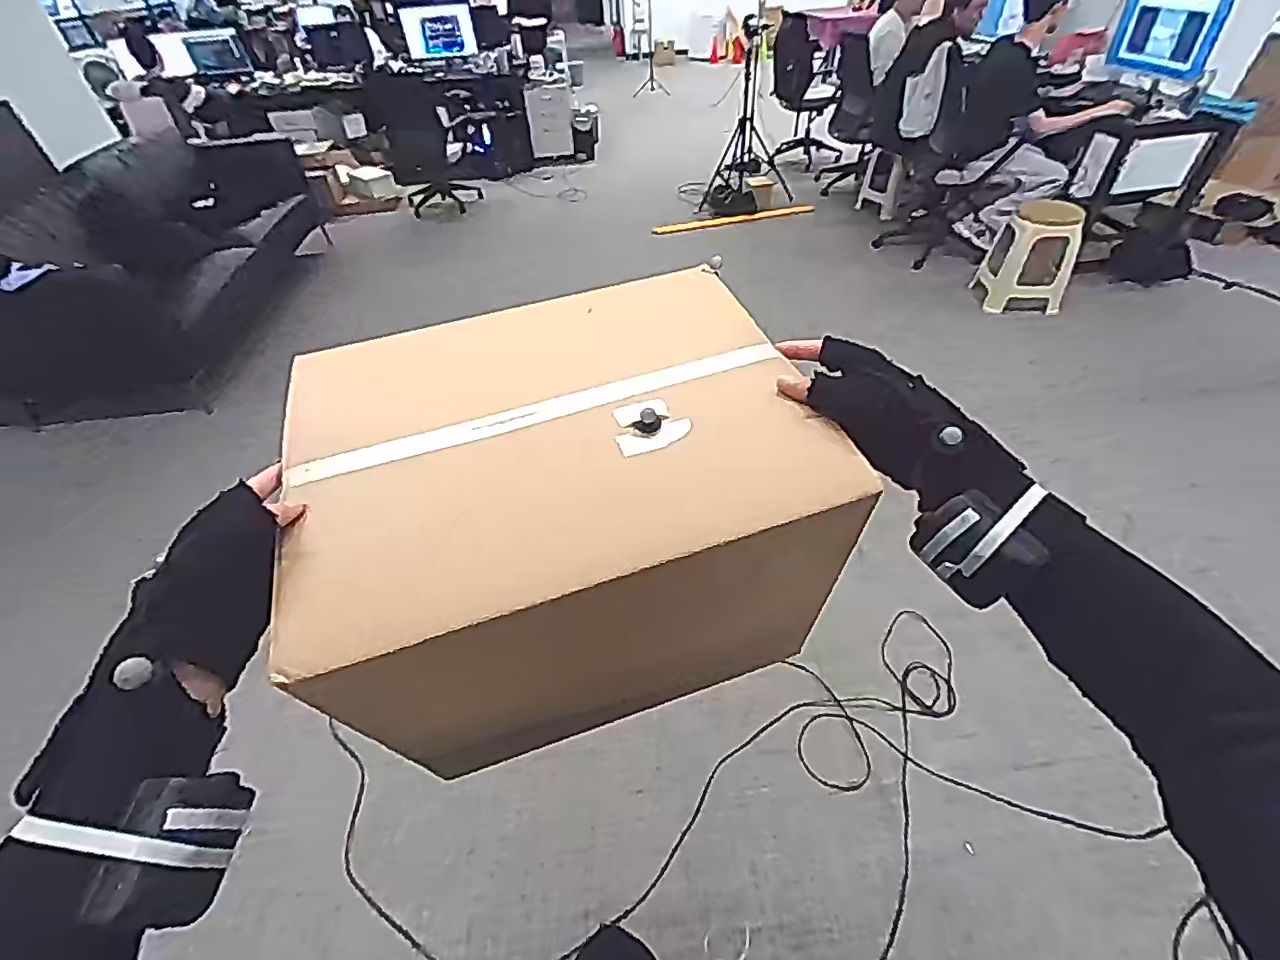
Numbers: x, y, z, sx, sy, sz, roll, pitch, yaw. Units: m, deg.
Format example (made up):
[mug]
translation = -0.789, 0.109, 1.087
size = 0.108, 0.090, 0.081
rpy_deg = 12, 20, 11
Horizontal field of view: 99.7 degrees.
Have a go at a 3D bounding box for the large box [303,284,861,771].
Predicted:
[large box]
translation = -0.064, 0.046, 0.568
size = 0.408, 0.320, 0.320
rpy_deg = -16, 52, -10
